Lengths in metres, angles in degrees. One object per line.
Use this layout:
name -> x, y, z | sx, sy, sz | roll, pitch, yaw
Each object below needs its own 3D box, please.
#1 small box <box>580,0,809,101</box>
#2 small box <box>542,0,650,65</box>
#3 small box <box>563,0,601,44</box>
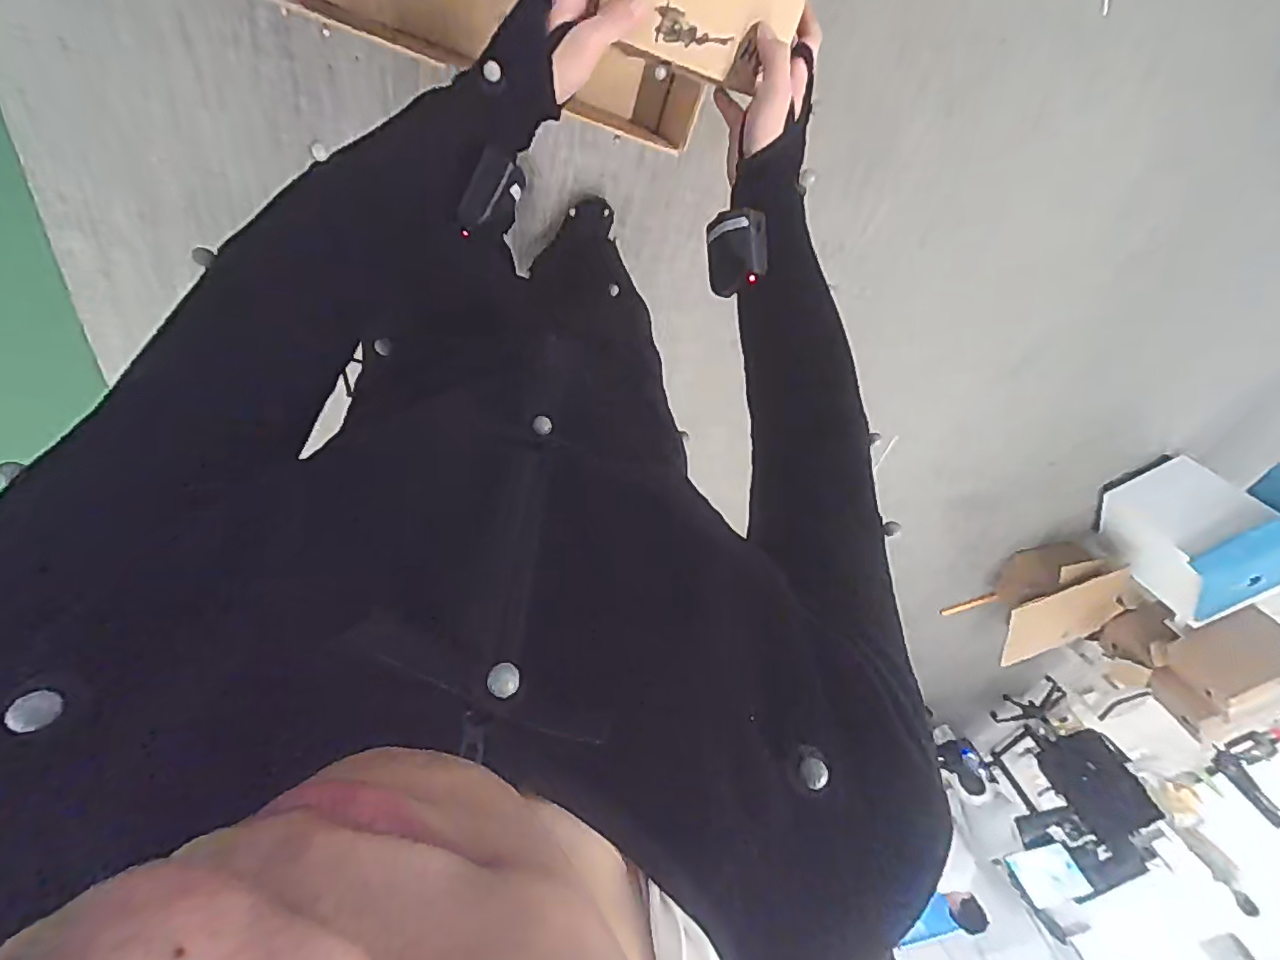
small box -> 0.051, -0.466, 0.472 | 0.168, 0.176, 0.179 | 6, 127, -20
small box -> -0.028, -0.693, 0.720 | 0.168, 0.176, 0.179 | 9, 127, -24
small box -> 0.014, -0.583, 0.606 | 0.168, 0.176, 0.179 | 5, 128, -21
